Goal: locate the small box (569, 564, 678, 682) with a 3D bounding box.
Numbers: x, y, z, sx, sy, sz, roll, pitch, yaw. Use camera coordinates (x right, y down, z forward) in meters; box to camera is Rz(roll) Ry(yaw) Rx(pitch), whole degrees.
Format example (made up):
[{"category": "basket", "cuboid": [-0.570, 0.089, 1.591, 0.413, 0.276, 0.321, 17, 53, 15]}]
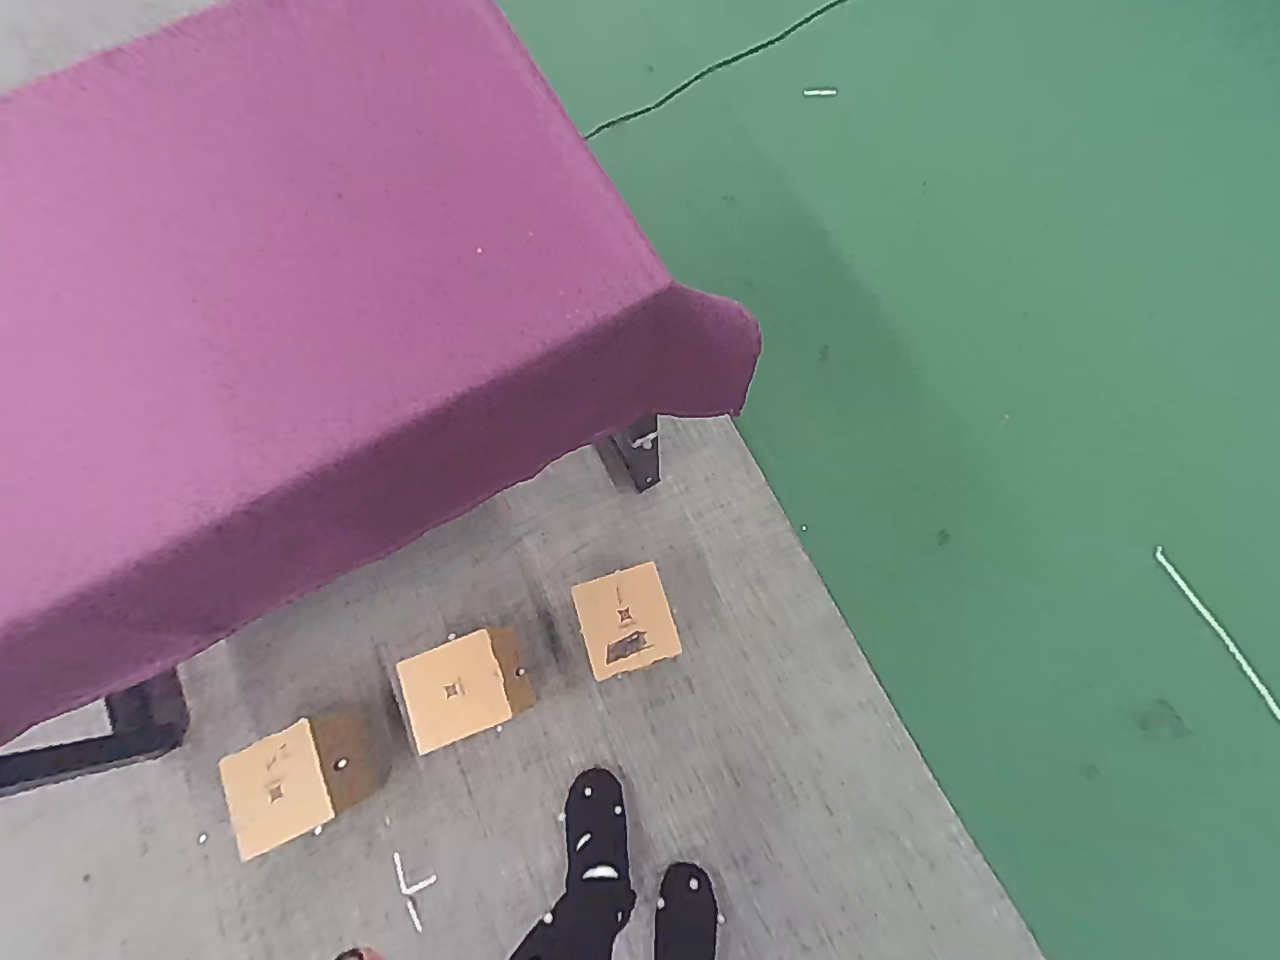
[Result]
[{"category": "small box", "cuboid": [-0.027, 0.278, 1.060, 0.168, 0.176, 0.179, -17, 73, -3]}]
